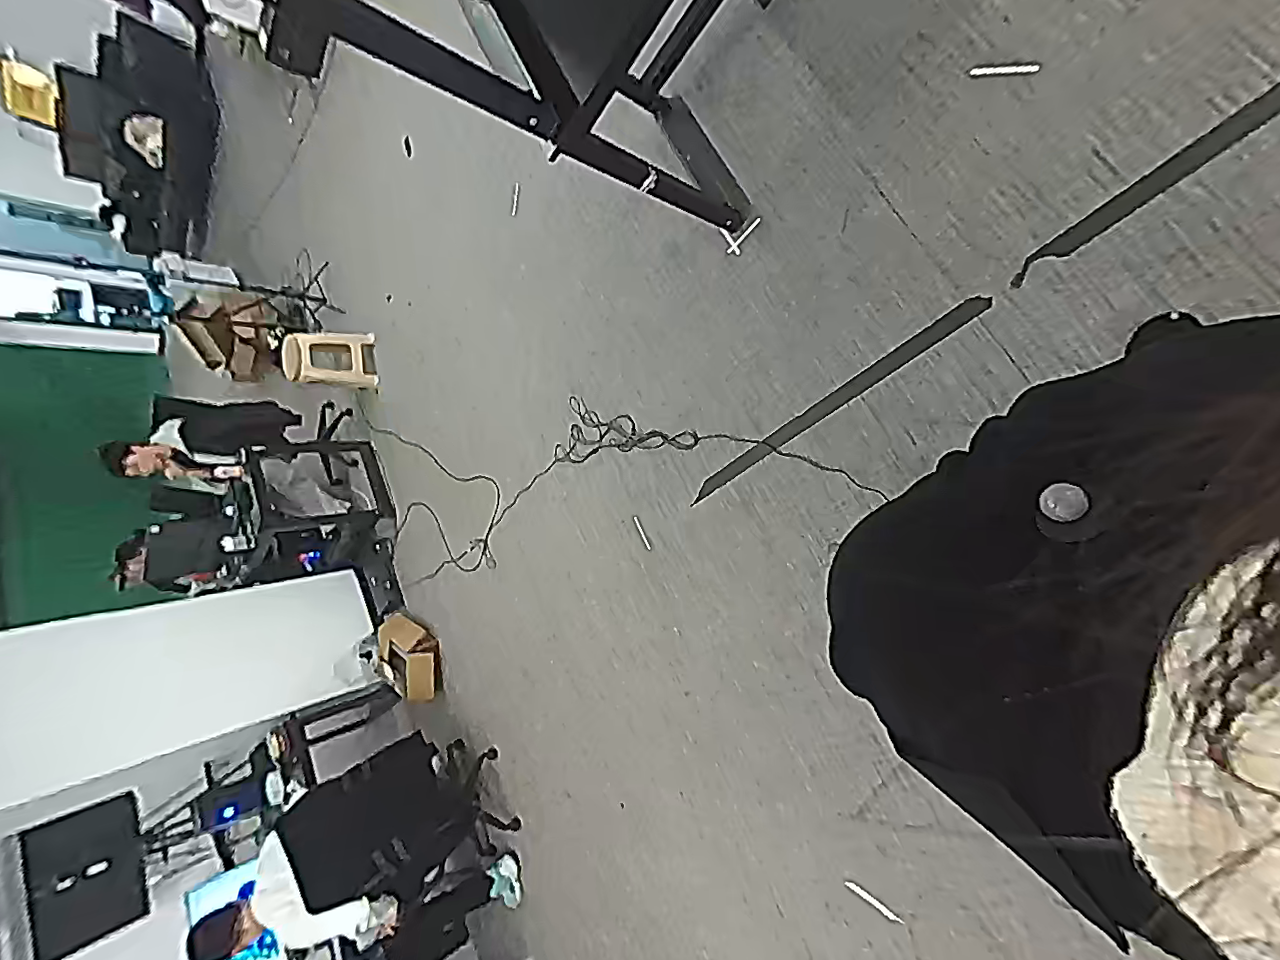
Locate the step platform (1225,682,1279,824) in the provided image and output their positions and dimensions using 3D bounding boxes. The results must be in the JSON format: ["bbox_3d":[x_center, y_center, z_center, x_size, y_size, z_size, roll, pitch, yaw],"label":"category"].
[{"bbox_3d":[1.328,0.415,0.748,0.684,0.204,0.286,-31,74,39],"label":"step platform"}]
